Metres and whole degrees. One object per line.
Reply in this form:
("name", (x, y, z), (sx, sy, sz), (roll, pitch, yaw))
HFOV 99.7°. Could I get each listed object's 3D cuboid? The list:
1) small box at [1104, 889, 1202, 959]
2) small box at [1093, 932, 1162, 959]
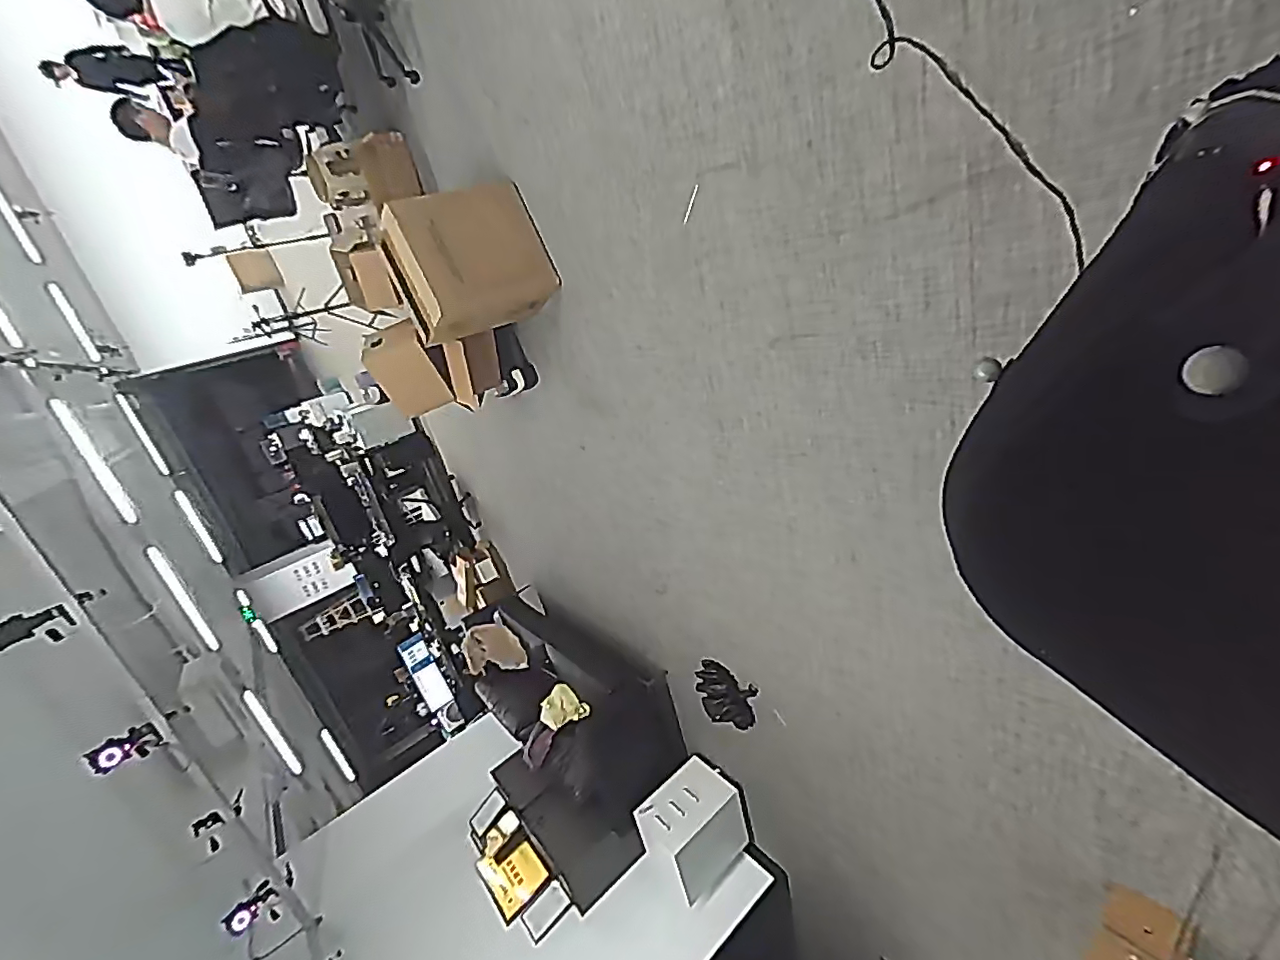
("small box", (1.487, 1.347, 1.572), (0.179, 0.176, 0.168), (11, 124, 51))
("small box", (1.362, 1.404, 1.486), (0.179, 0.176, 0.168), (15, 127, 51))
